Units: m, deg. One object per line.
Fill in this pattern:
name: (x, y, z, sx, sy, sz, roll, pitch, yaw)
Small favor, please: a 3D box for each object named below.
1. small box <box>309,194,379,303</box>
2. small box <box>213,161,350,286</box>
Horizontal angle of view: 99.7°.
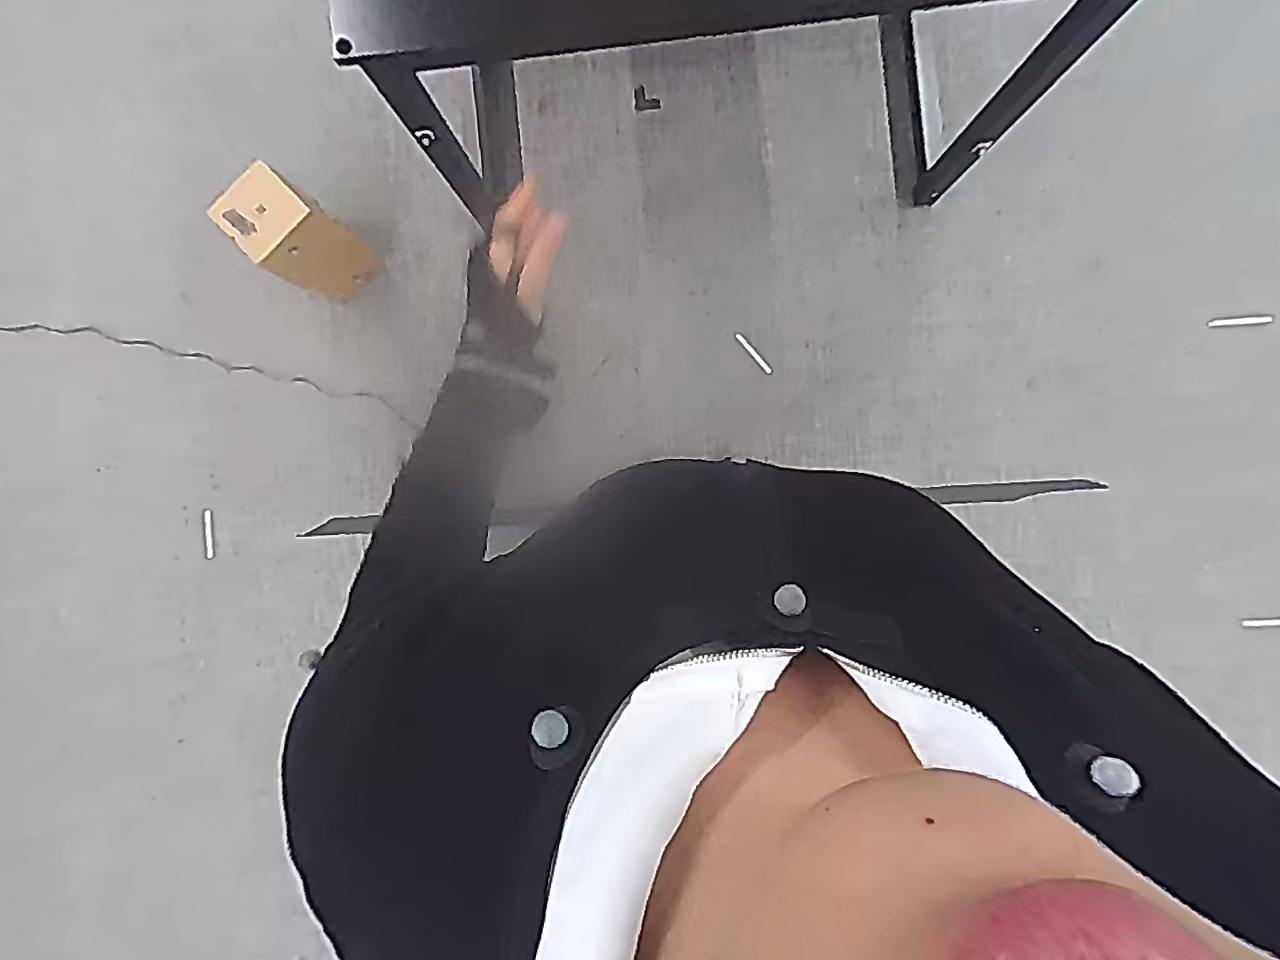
small box: (-0.838, -0.611, 1.450, 0.168, 0.176, 0.179, 44, 91, 1)
small box: (-0.838, -0.595, 1.284, 0.179, 0.176, 0.168, -44, 89, 2)
